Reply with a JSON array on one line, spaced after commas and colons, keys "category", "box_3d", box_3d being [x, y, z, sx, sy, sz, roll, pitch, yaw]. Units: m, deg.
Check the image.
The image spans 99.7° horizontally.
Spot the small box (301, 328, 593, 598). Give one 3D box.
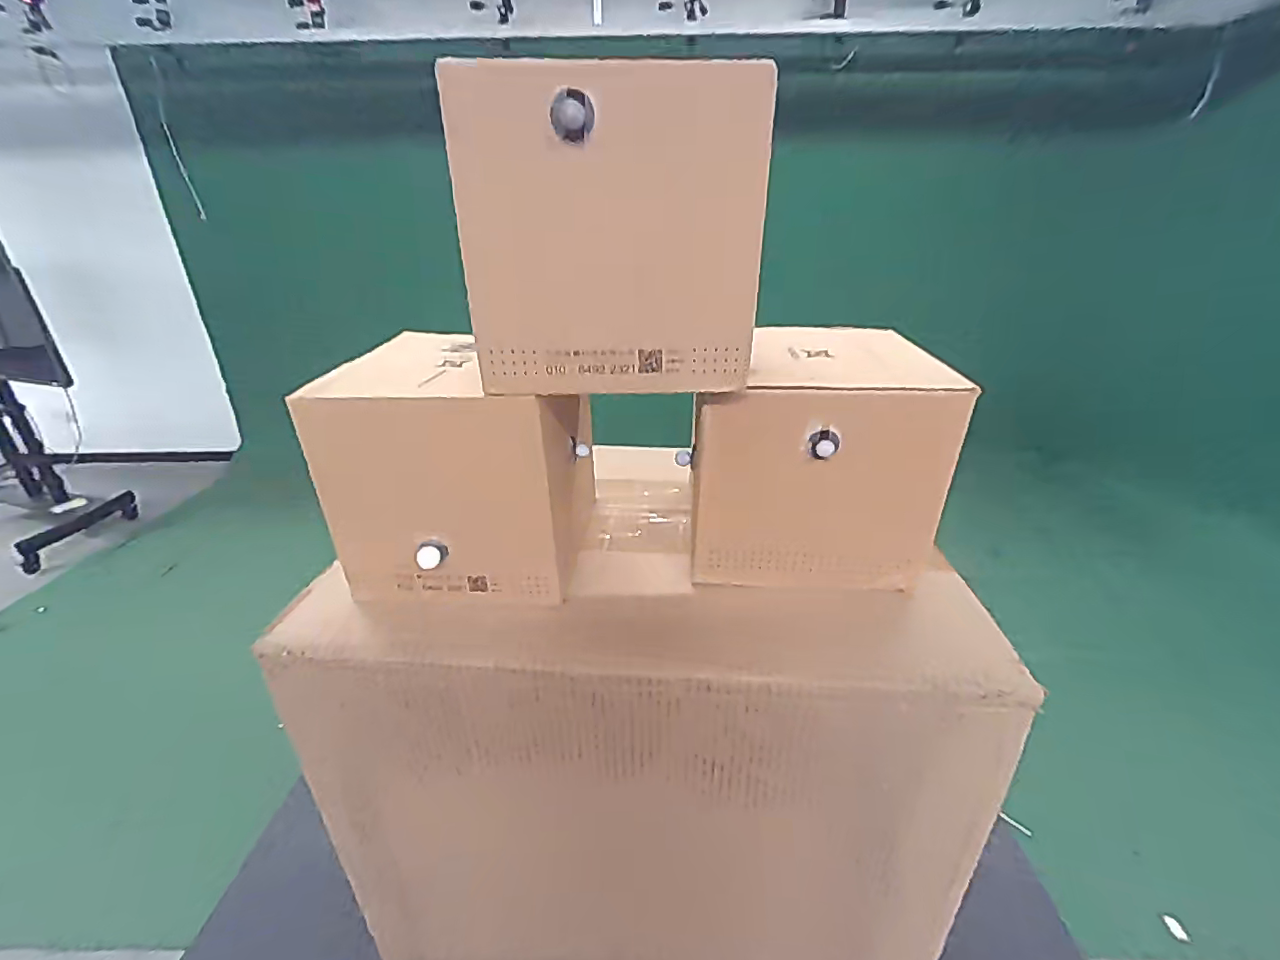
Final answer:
[{"category": "small box", "box_3d": [-0.134, -0.025, 0.455, 0.168, 0.176, 0.179, 1, 28, 5]}]

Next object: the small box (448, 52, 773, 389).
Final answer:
[{"category": "small box", "box_3d": [-0.017, -0.171, 0.376, 0.168, 0.176, 0.179, 0, 28, -1]}]

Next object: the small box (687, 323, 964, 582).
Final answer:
[{"category": "small box", "box_3d": [0.130, -0.030, 0.460, 0.179, 0.176, 0.168, 3, 29, 3]}]
